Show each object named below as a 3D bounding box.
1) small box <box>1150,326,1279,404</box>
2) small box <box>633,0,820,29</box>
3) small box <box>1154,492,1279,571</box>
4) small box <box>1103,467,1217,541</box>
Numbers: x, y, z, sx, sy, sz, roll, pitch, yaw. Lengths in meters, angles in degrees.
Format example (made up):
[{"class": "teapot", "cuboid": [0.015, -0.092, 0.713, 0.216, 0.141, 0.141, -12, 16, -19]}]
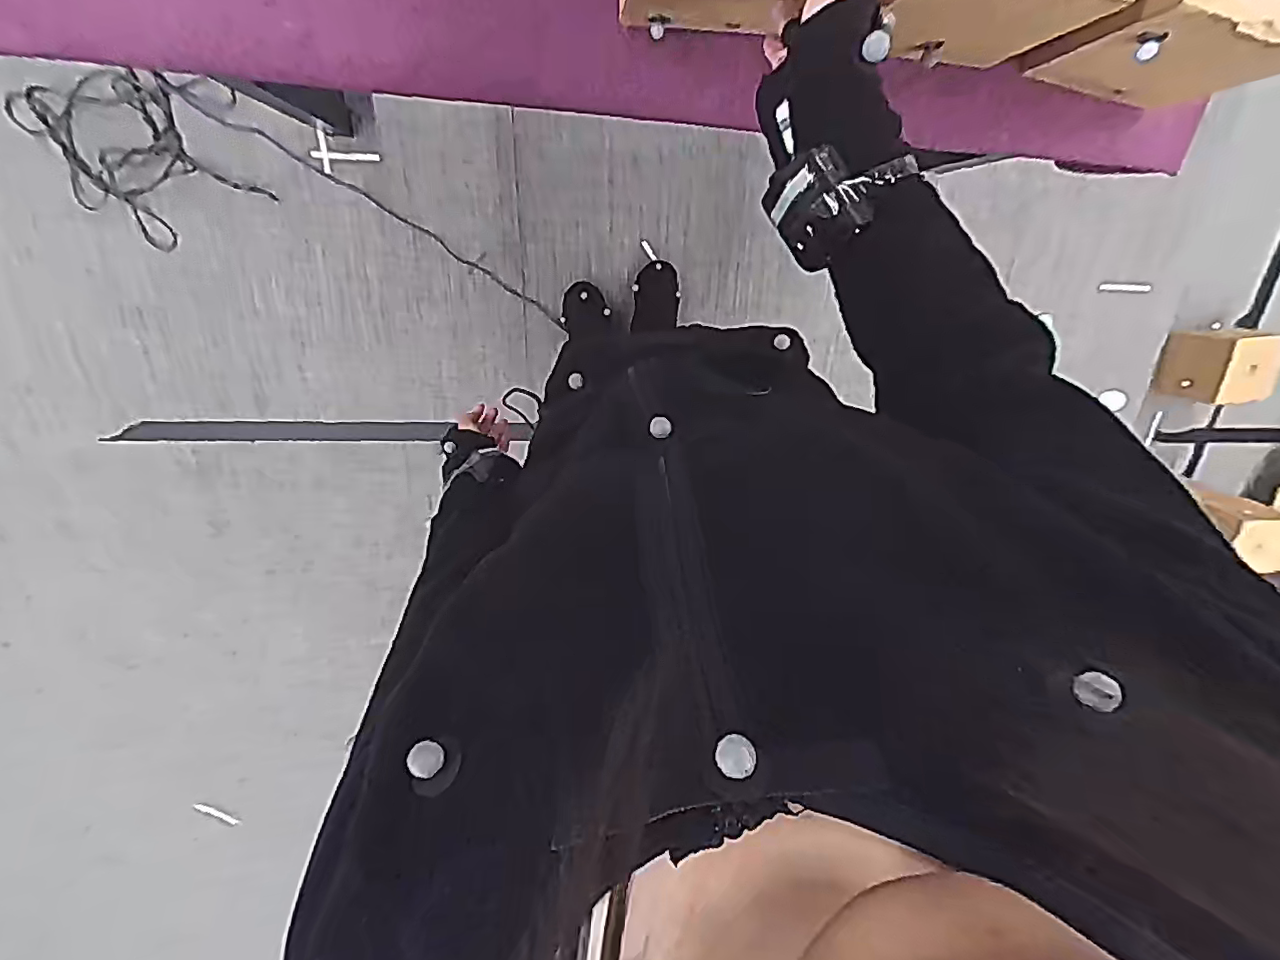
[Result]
[{"class": "small box", "cuboid": [1.578, -0.321, 1.494, 0.168, 0.176, 0.179, -7, 113, -6]}, {"class": "small box", "cuboid": [0.077, -0.466, 0.399, 0.168, 0.176, 0.179, -2, 116, -7]}, {"class": "small box", "cuboid": [1.627, 0.140, 1.520, 0.179, 0.176, 0.168, -1, 114, -7]}, {"class": "small box", "cuboid": [1.592, 0.076, 1.666, 0.168, 0.176, 0.179, 3, 113, -10]}]
